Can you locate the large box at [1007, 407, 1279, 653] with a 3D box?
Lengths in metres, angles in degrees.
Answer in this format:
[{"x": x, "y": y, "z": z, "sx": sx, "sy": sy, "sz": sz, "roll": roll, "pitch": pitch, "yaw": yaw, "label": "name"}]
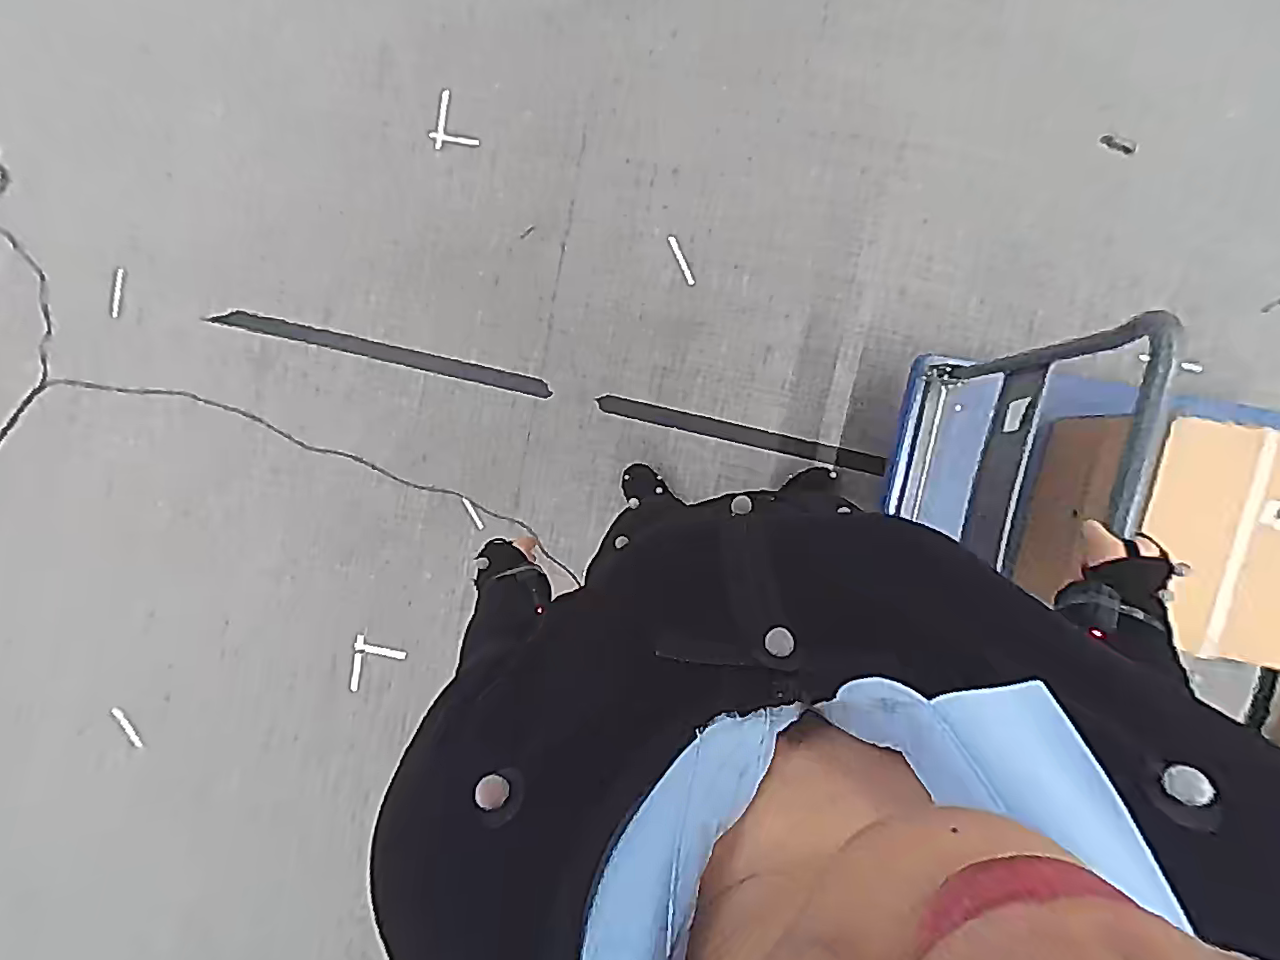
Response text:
[{"x": 1.036, "y": 0.084, "z": 1.113, "sx": 0.320, "sy": 0.320, "sz": 0.408, "roll": 11, "pitch": 94, "yaw": 3, "label": "large box"}]
